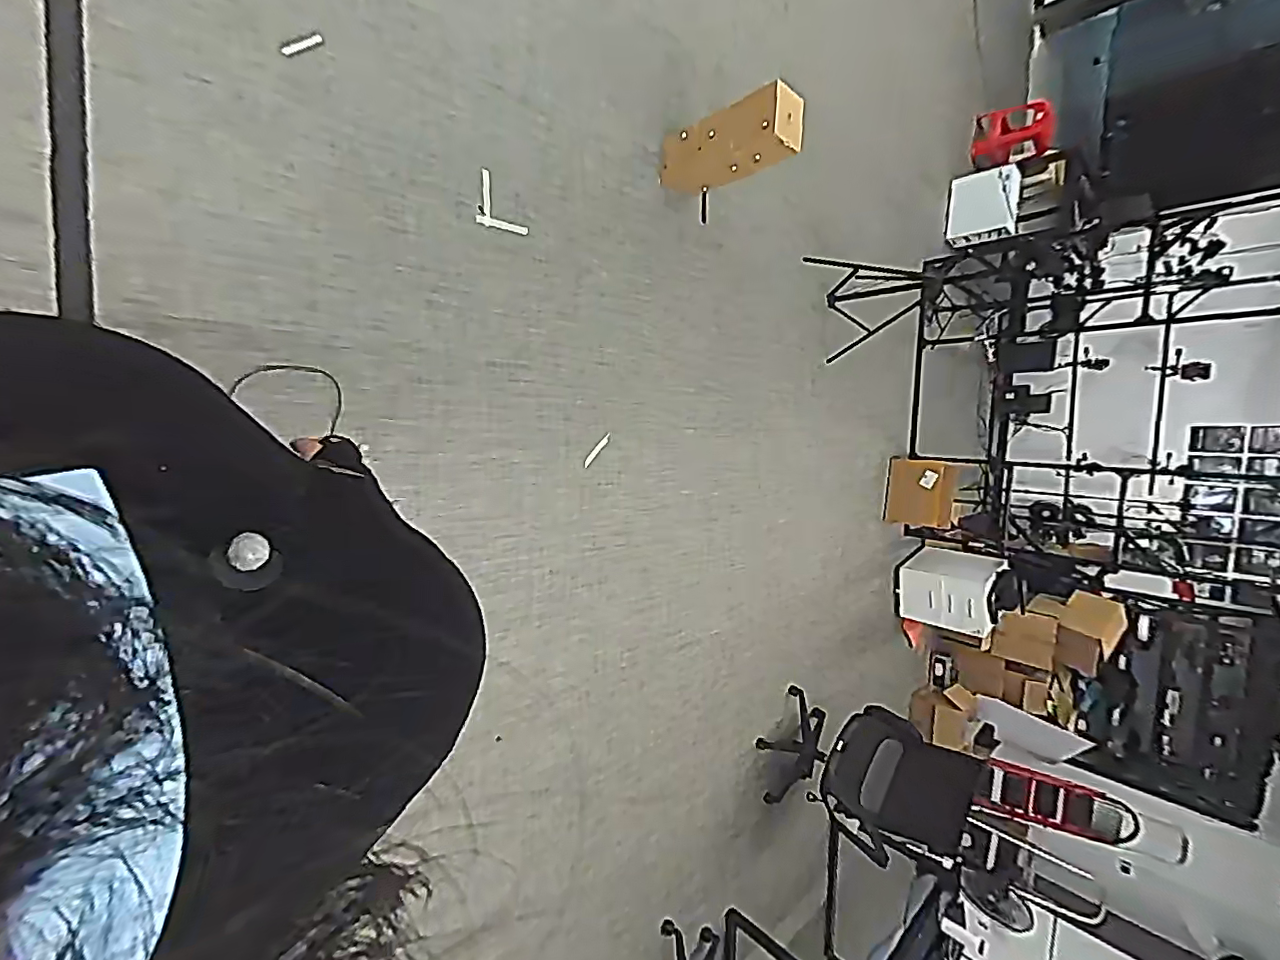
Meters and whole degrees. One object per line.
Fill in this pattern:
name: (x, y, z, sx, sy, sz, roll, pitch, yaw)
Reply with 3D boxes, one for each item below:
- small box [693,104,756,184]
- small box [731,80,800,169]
small box: (0.309, -1.206, 1.957, 0.179, 0.176, 0.168, 3, 93, -45)
small box: (0.425, -1.202, 1.842, 0.168, 0.176, 0.179, -3, 97, -44)
